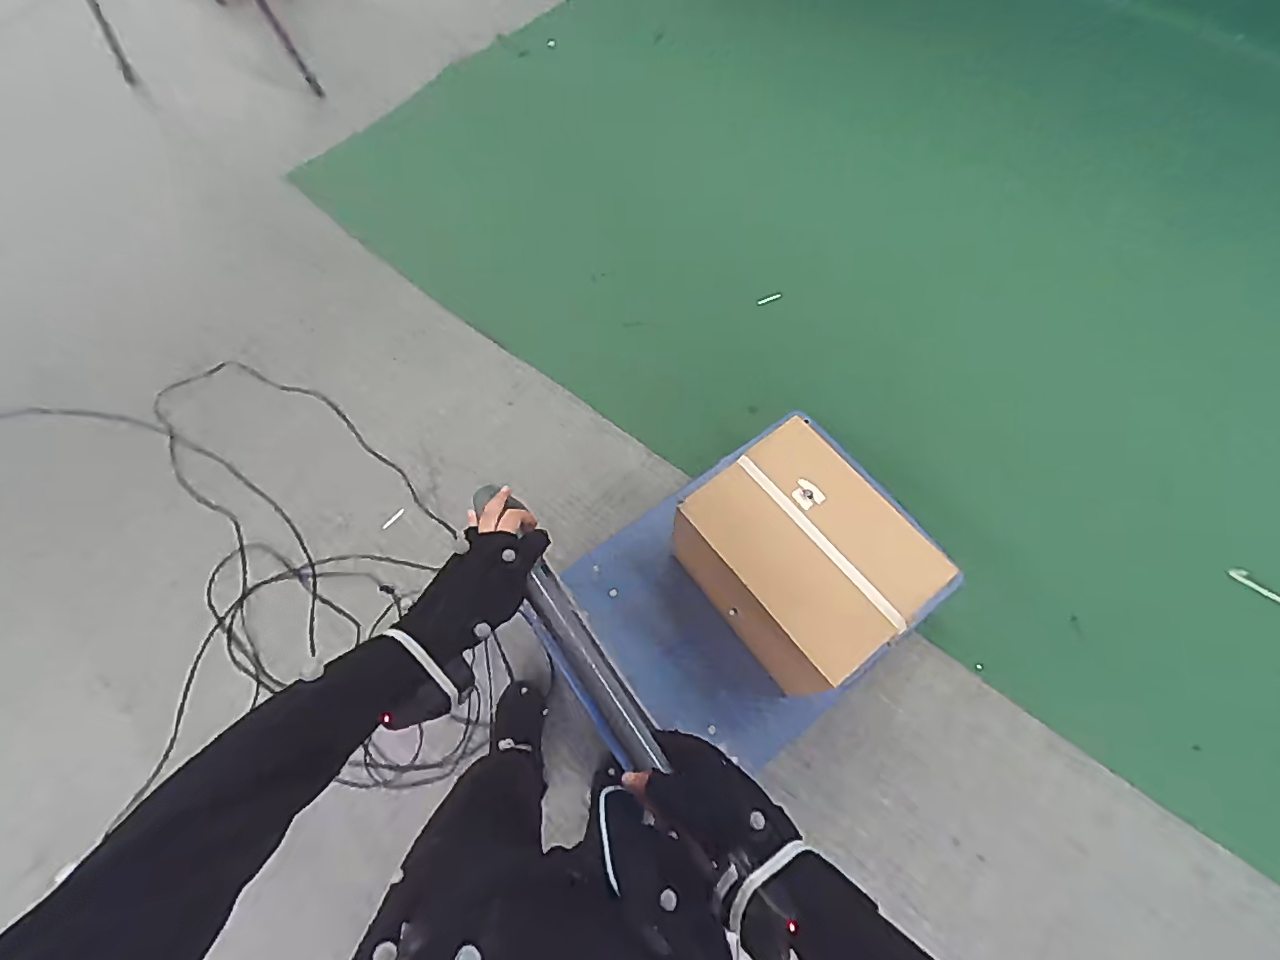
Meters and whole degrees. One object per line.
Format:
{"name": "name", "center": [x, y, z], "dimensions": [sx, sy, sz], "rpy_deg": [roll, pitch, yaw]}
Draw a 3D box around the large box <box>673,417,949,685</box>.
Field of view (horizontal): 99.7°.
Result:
{"name": "large box", "center": [0.312, 0.158, 1.118], "dimensions": [0.320, 0.320, 0.408], "rpy_deg": [-36, 70, -14]}
